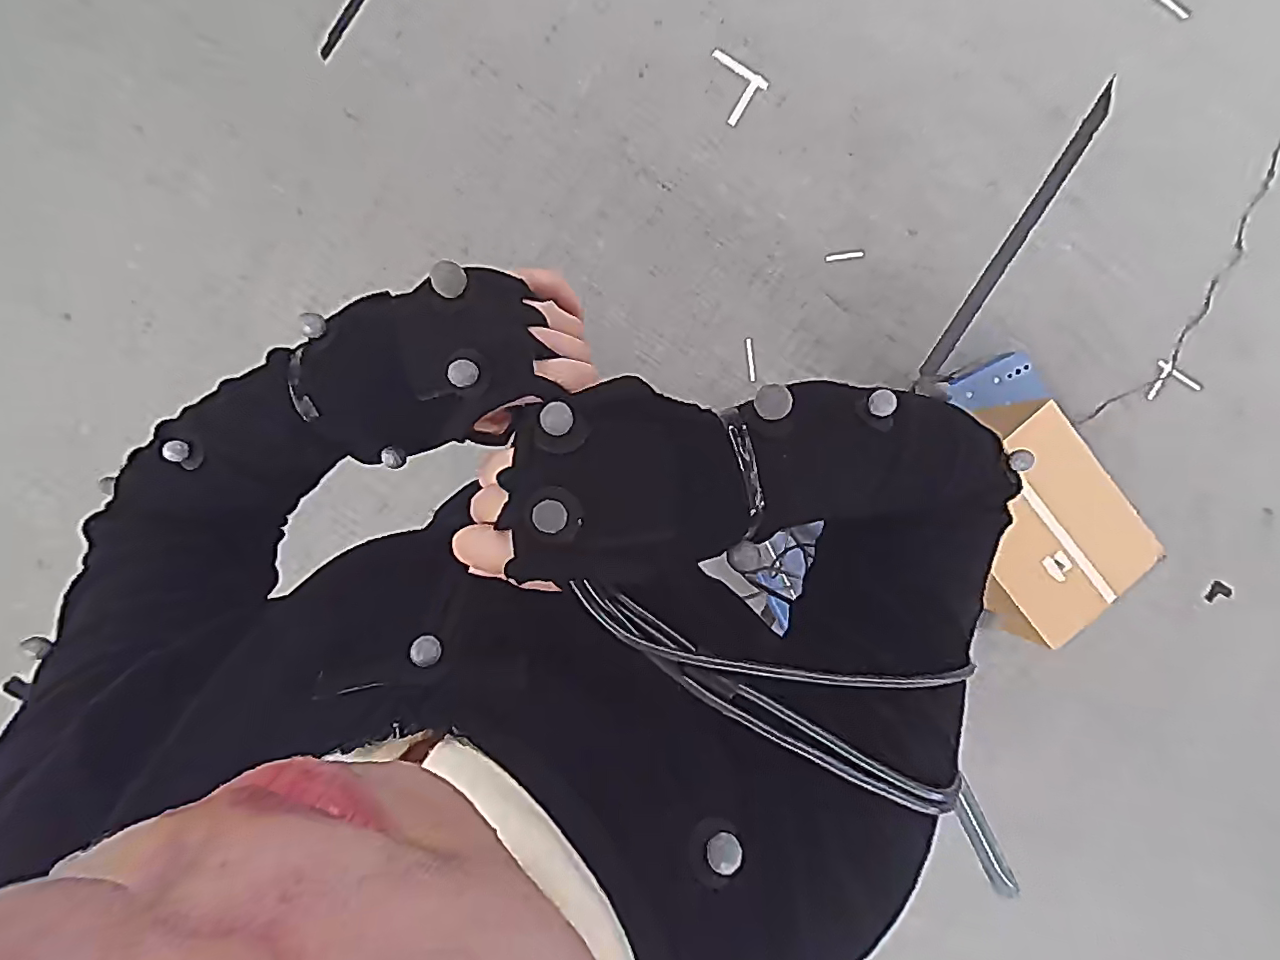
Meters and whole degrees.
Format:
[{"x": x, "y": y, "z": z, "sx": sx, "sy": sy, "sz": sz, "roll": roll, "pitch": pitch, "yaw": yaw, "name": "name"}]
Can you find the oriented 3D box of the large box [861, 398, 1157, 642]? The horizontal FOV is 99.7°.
[{"x": 0.798, "y": 0.076, "z": 1.224, "sx": 0.320, "sy": 0.320, "sz": 0.408, "roll": -39, "pitch": 95, "yaw": -1, "name": "large box"}]
